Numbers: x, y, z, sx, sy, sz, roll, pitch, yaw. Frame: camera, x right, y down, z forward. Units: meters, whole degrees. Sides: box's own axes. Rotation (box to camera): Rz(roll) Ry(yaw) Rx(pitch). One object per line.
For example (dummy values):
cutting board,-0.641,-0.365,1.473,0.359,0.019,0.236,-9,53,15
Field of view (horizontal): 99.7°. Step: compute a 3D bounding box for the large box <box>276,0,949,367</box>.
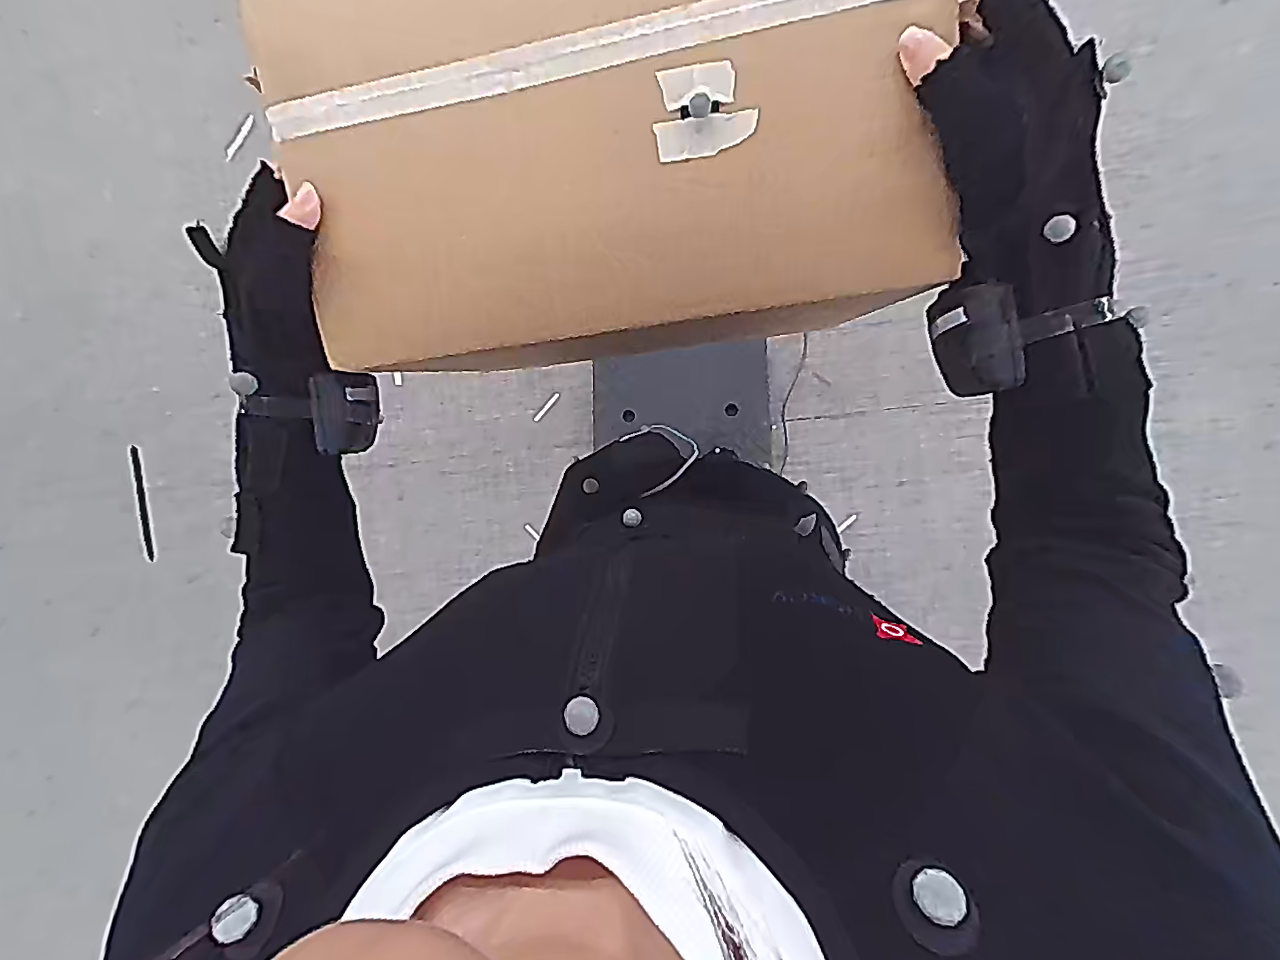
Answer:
large box,-0.012,-0.284,0.475,0.408,0.320,0.320,-6,101,8
